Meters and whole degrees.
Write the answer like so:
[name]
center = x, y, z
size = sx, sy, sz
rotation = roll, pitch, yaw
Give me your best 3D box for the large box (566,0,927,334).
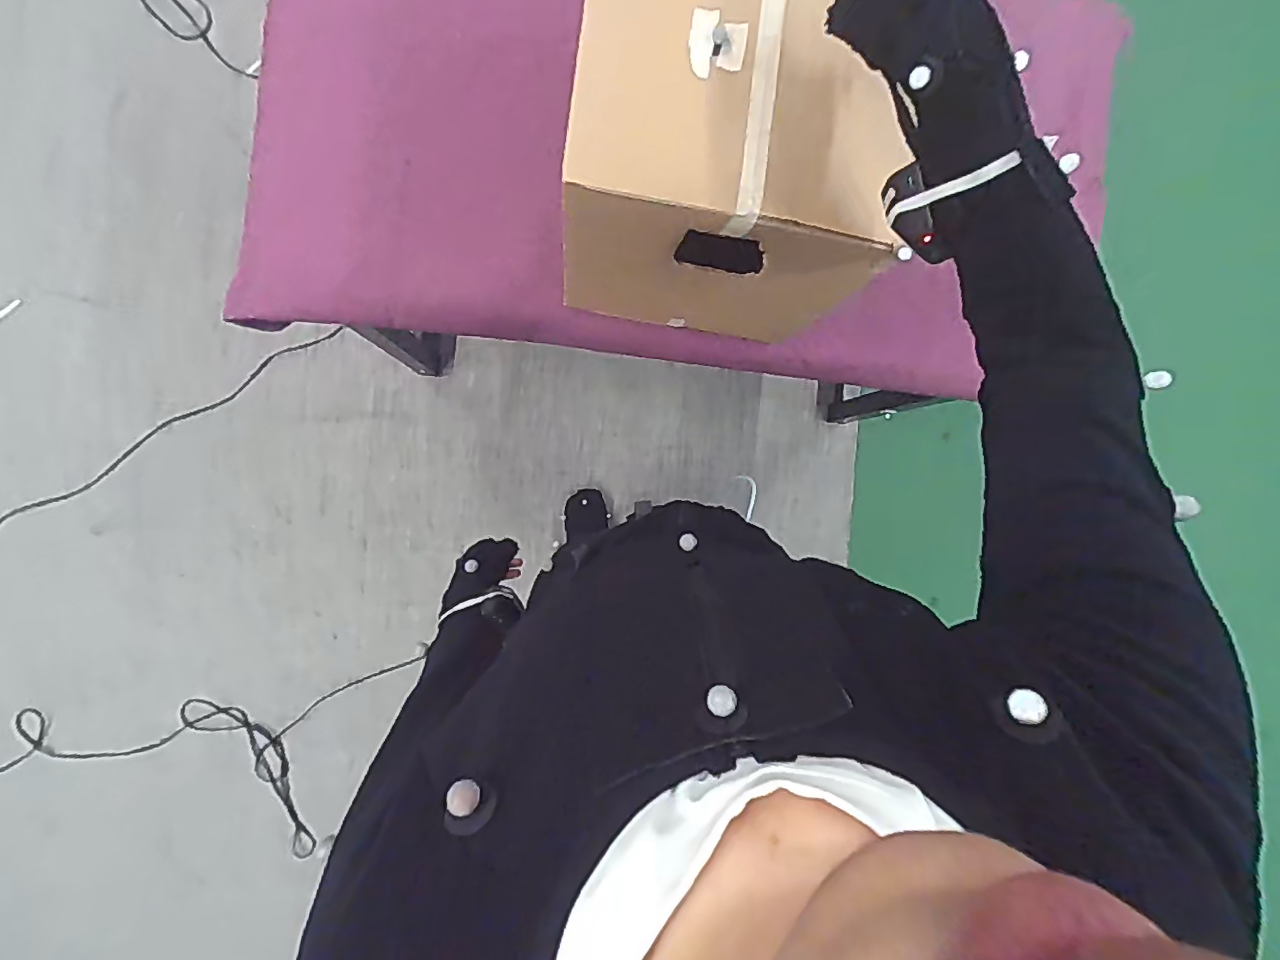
[large box]
center = 0.091, -0.426, 0.626
size = 0.320, 0.320, 0.408
rotation = 8, 89, -7
